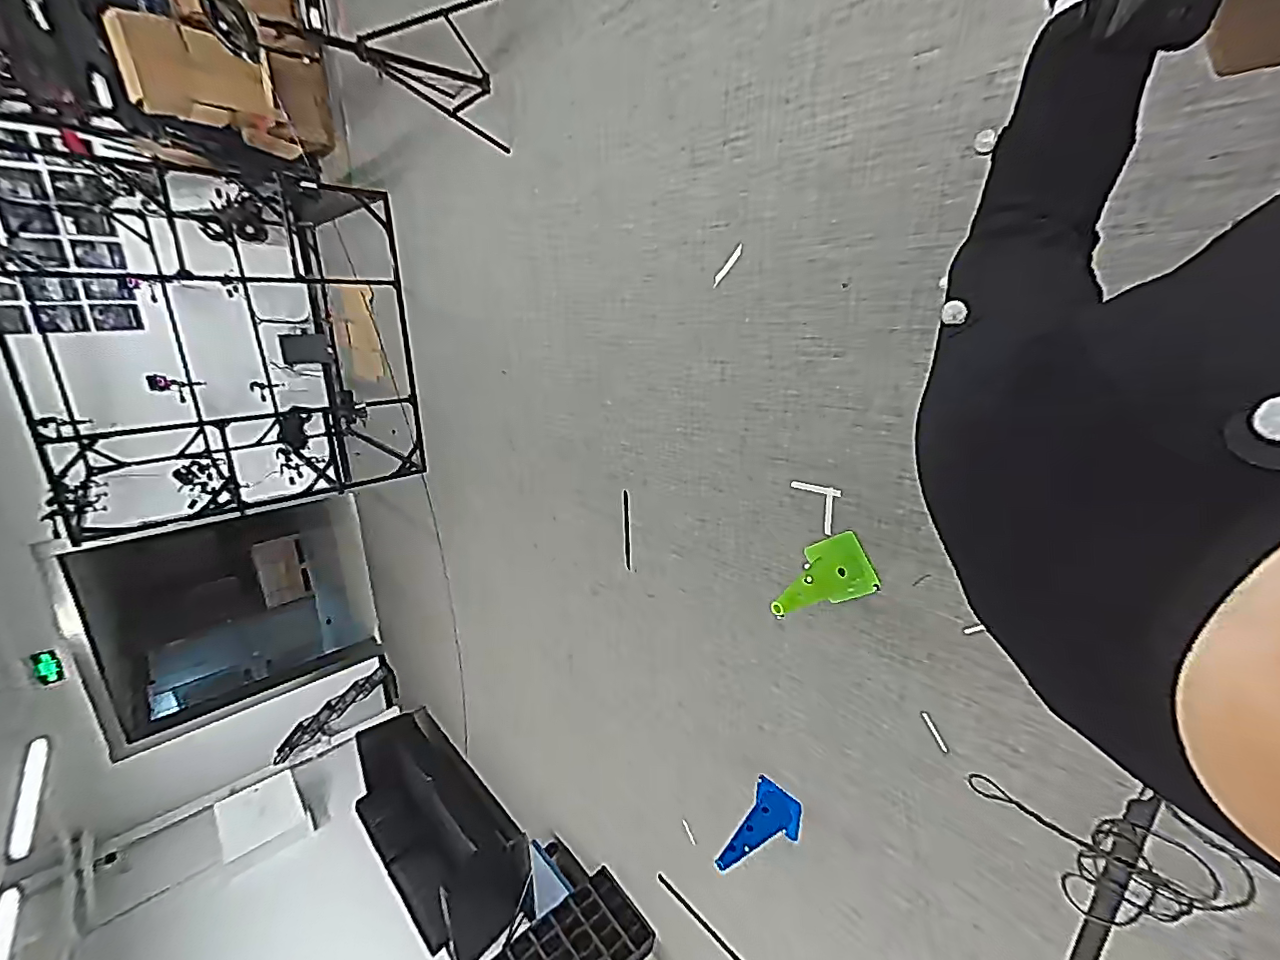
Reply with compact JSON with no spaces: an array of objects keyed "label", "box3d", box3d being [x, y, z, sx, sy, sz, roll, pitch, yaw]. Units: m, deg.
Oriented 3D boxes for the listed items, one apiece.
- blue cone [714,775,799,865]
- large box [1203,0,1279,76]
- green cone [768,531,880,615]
[{"label":"blue cone","box3d":[0.429,1.339,2.065,0.192,0.380,0.193,23,119,45]},{"label":"large box","box3d":[0.562,-0.440,0.230,0.408,0.320,0.320,17,119,43]},{"label":"green cone","box3d":[0.506,0.310,1.601,0.202,0.368,0.200,-38,72,50]}]
